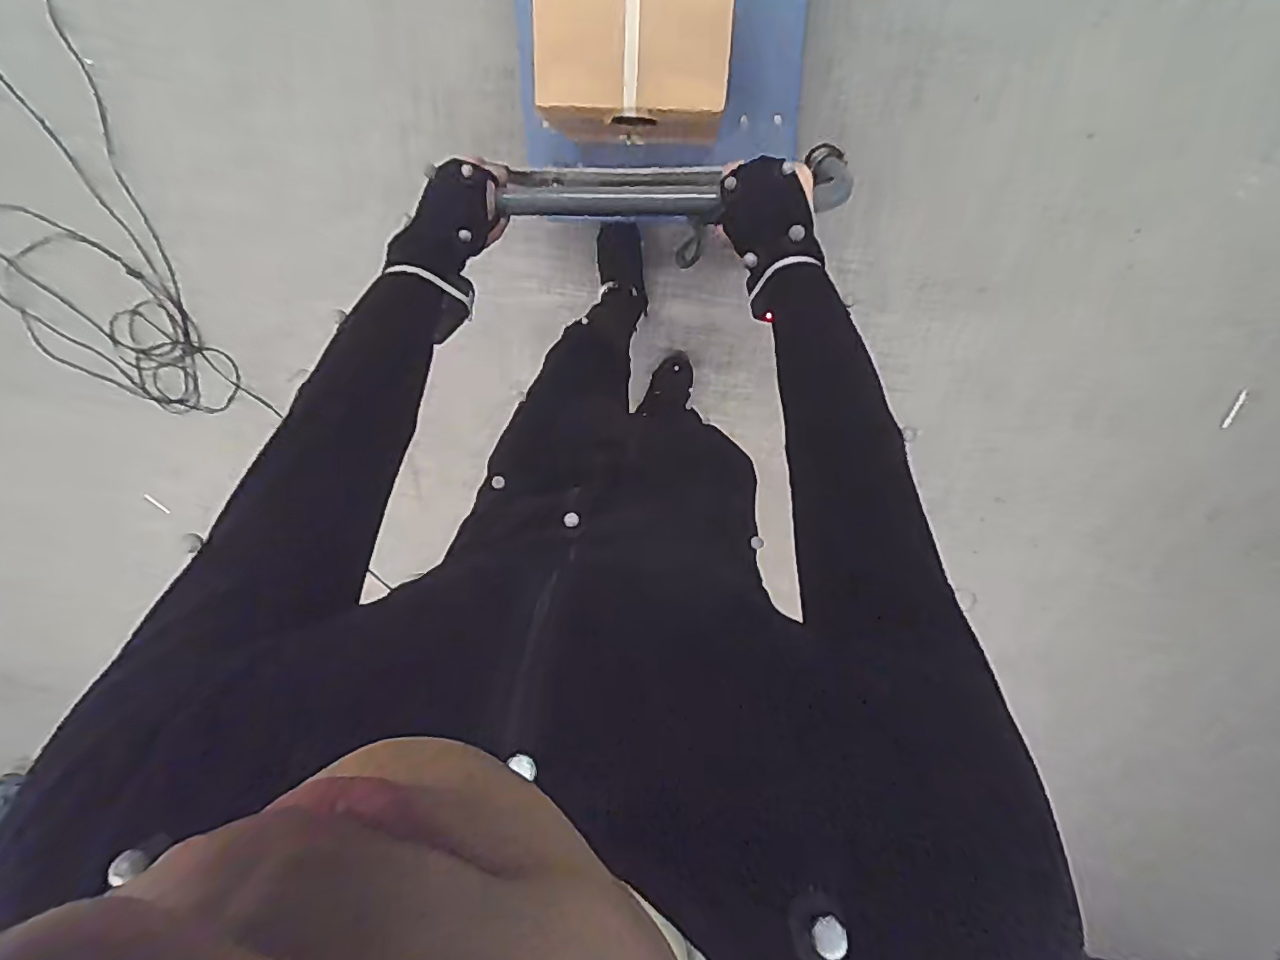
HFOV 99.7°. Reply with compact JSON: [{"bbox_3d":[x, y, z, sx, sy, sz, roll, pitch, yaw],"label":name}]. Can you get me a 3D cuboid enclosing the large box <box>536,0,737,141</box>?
[{"bbox_3d":[0.008,-0.851,0.944,0.320,0.320,0.408,4,113,3],"label":"large box"}]
